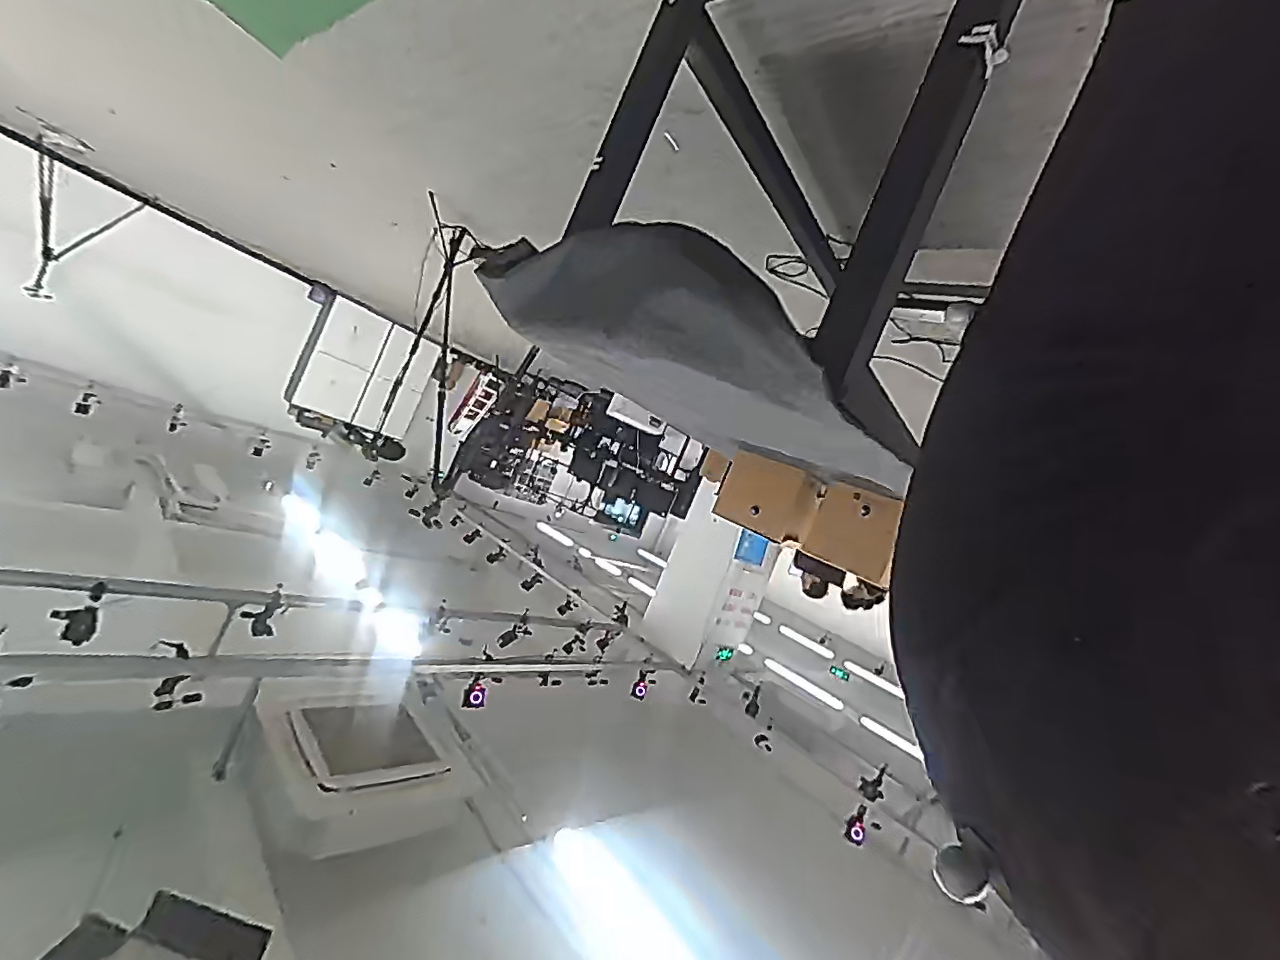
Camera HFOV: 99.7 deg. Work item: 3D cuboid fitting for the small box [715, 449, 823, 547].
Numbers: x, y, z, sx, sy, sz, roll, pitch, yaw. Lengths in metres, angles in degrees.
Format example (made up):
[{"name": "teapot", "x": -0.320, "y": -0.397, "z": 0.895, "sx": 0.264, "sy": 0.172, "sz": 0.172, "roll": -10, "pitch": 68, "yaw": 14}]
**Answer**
[{"name": "small box", "x": 0.311, "y": 0.040, "z": 1.272, "sx": 0.179, "sy": 0.176, "sz": 0.168, "roll": 24, "pitch": 180, "yaw": 36}]
